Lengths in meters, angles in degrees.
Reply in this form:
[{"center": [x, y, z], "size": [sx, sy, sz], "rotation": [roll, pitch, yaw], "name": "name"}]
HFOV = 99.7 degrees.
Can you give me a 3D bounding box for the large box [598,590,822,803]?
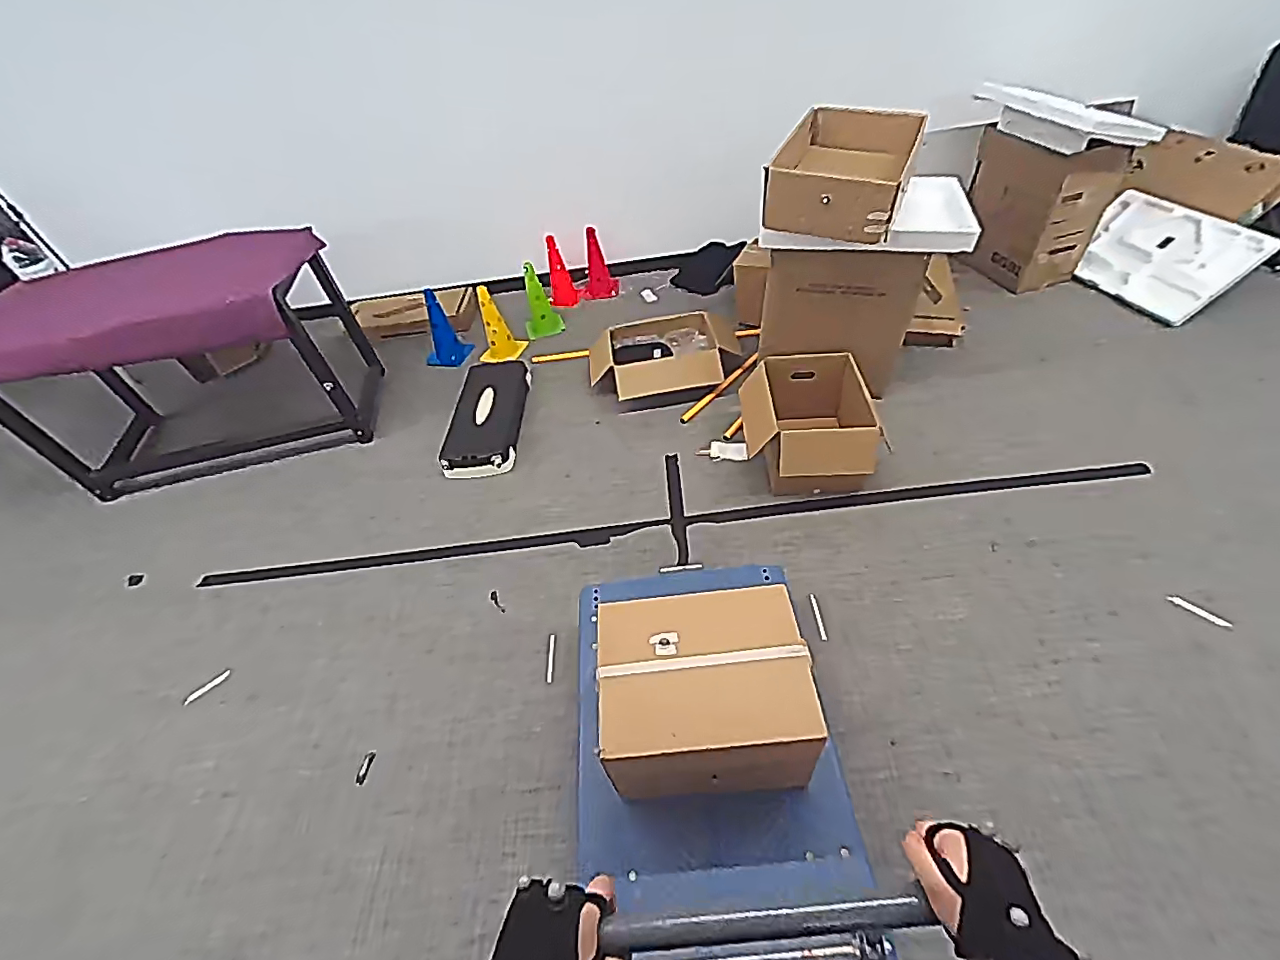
[{"center": [0.136, 0.474, 1.173], "size": [0.408, 0.320, 0.320], "rotation": [-8, 45, 3], "name": "large box"}]
